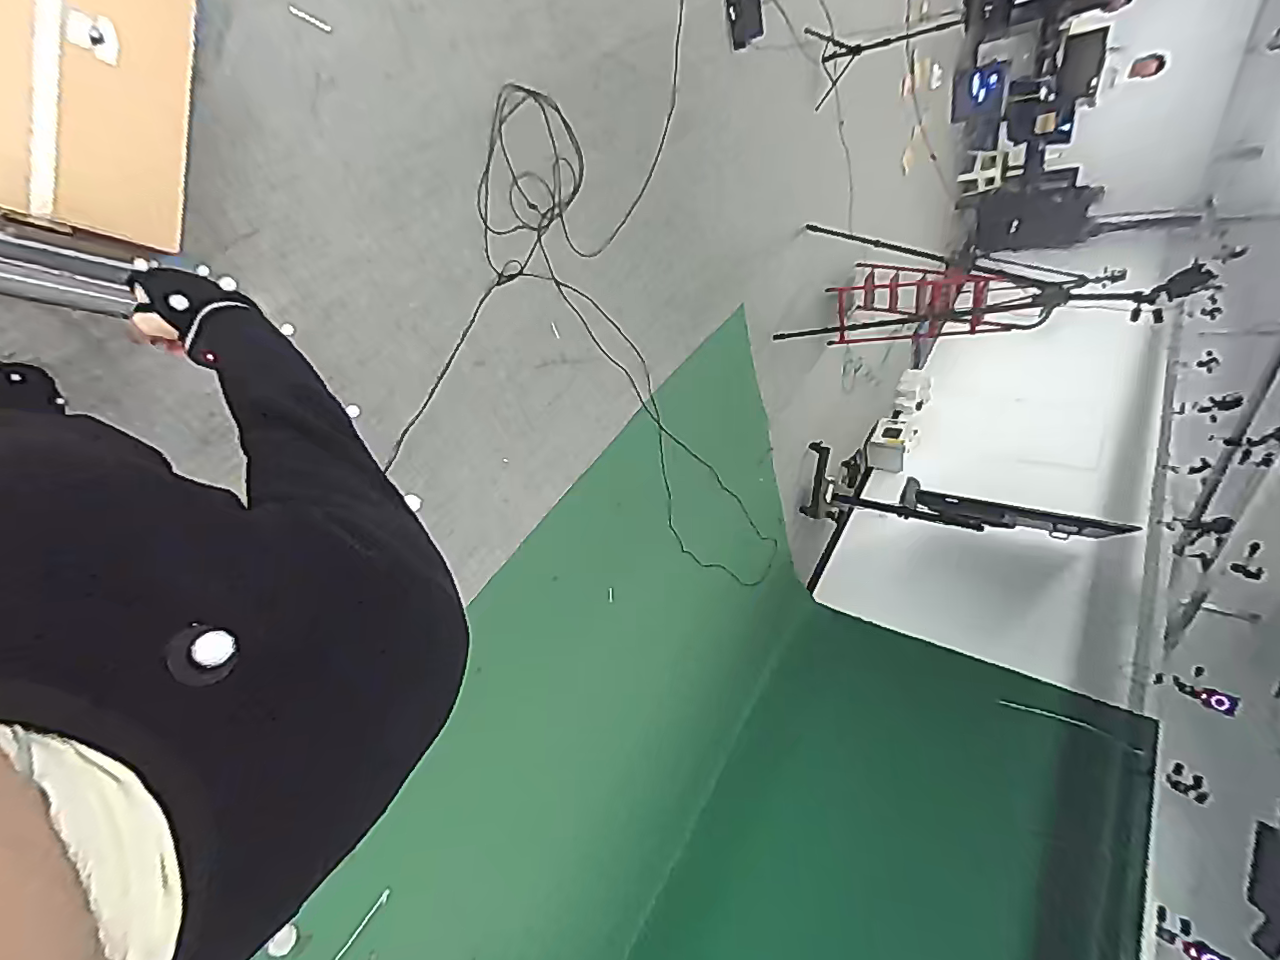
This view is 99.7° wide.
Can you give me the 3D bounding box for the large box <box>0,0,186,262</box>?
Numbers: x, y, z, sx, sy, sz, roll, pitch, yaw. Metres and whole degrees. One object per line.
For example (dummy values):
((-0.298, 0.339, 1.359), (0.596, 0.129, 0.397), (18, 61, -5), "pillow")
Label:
((-0.953, -0.596, 0.843), (0.320, 0.320, 0.408), (1, 100, -54), "large box")
